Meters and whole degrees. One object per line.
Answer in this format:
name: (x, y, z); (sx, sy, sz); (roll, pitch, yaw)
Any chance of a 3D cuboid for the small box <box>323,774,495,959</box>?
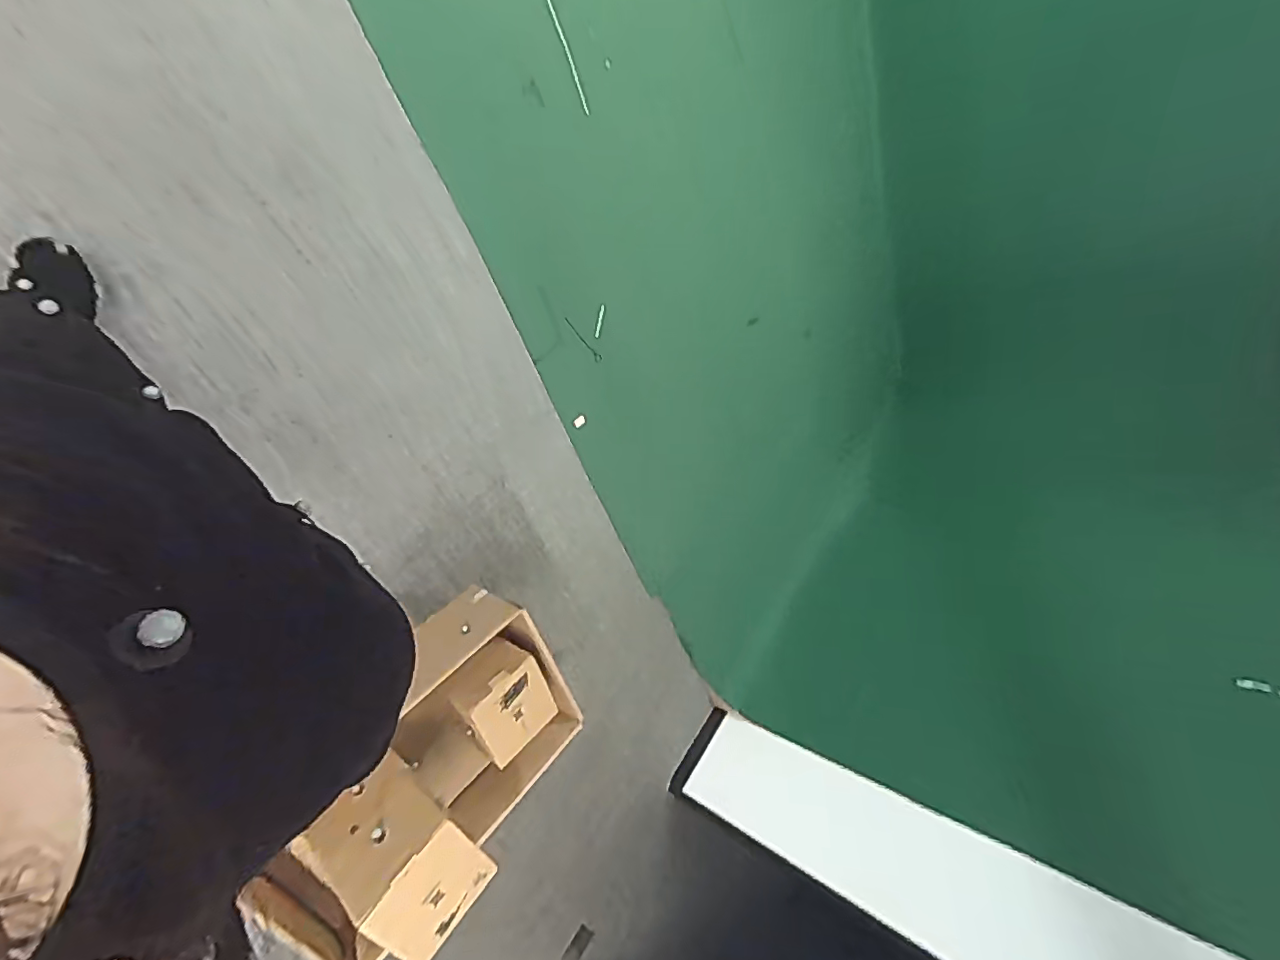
small box: (-0.384, 0.628, 0.899); (0.168, 0.176, 0.179); (-44, 126, -34)
